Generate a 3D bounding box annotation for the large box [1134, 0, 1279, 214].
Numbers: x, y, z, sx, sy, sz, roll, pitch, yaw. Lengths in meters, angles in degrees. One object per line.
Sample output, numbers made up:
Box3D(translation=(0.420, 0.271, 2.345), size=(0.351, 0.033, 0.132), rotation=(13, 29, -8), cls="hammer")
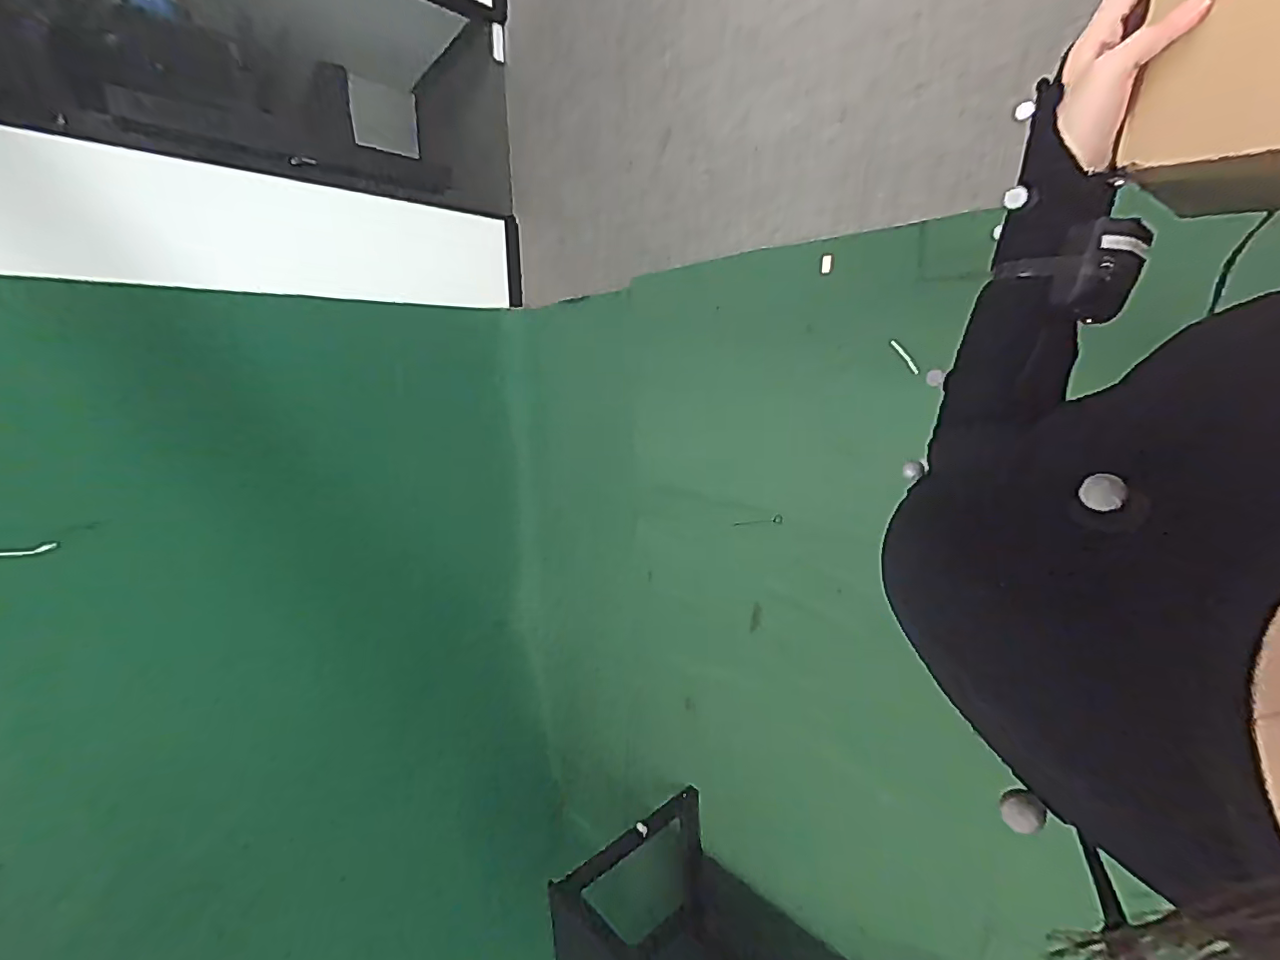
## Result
Box3D(translation=(0.588, -0.360, 0.296), size=(0.408, 0.320, 0.320), rotation=(18, 115, 46), cls="large box")
